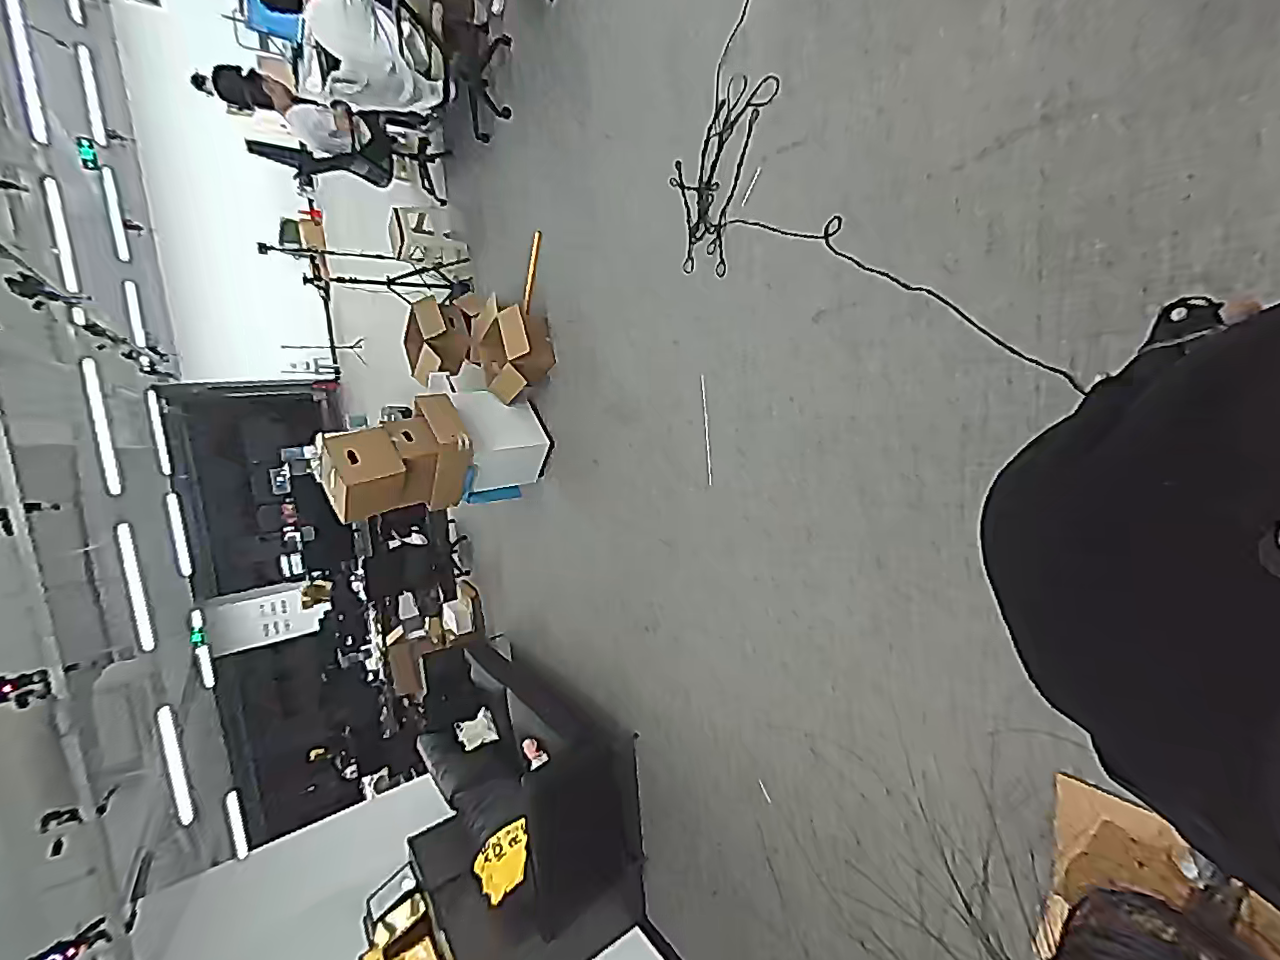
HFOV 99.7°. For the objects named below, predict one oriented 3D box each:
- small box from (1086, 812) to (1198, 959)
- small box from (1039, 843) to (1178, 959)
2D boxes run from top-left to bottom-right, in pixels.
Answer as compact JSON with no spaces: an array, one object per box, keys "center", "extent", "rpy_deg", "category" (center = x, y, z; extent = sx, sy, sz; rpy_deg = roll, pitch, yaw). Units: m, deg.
[{"center":[1.115,0.902,1.219],"extent":[0.168,0.176,0.179],"rpy_deg":[19,115,53],"category":"small box"},{"center":[0.979,0.922,1.131],"extent":[0.168,0.176,0.179],"rpy_deg":[22,116,51],"category":"small box"}]
